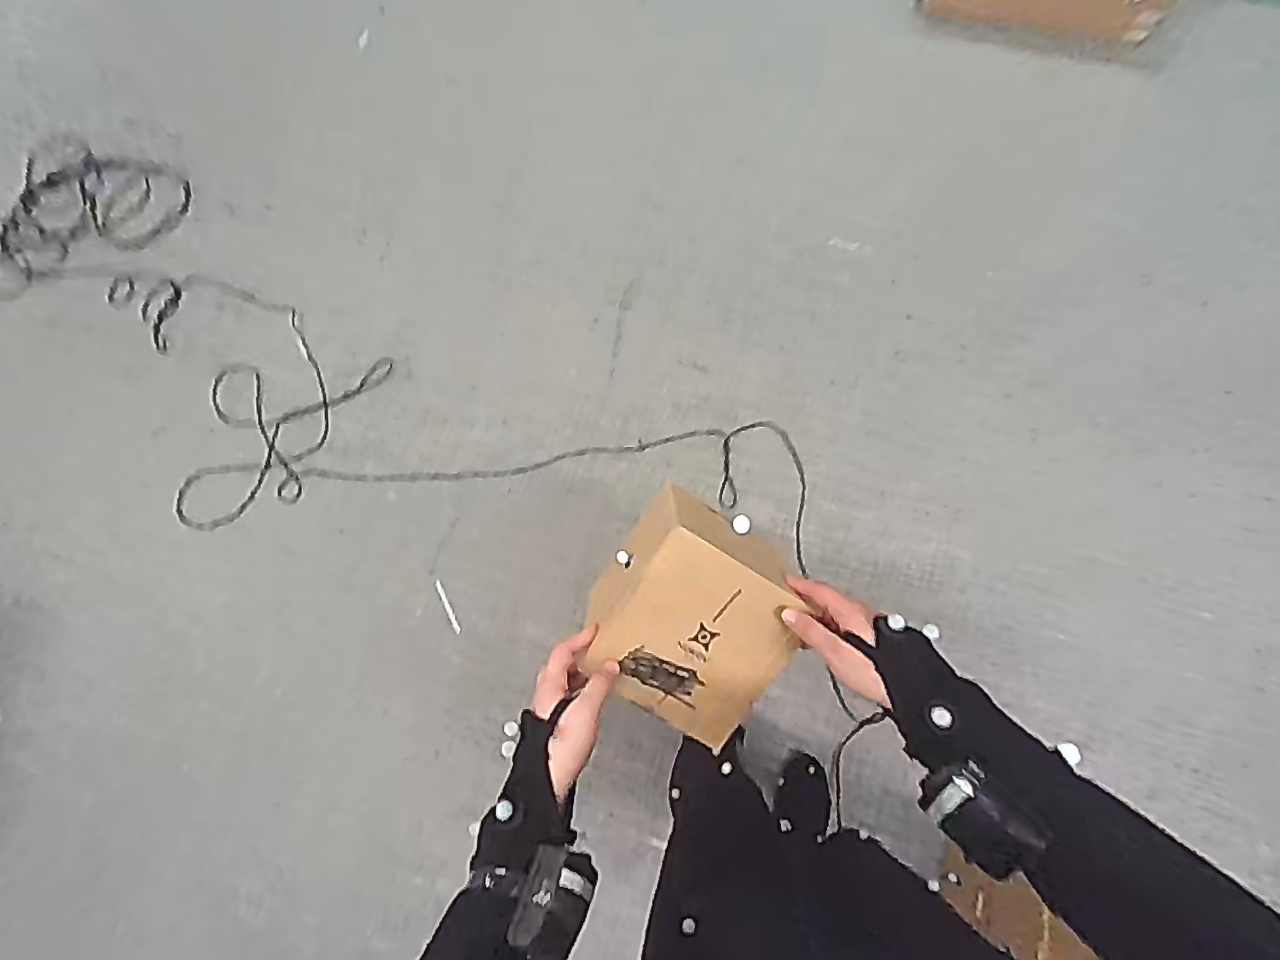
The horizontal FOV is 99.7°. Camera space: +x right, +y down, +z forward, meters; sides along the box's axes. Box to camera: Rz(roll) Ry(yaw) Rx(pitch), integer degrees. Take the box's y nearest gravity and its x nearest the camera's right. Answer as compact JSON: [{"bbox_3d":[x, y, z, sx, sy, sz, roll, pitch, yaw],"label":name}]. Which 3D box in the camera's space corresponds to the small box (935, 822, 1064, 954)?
[{"bbox_3d":[0.684,0.778,1.016,0.179,0.176,0.168,14,79,9],"label":"small box"}]

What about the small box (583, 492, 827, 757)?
[{"bbox_3d":[0.060,0.141,0.579,0.168,0.176,0.179,33,102,-8],"label":"small box"}]

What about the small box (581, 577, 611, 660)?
[{"bbox_3d":[-0.015,0.324,1.192,0.168,0.176,0.179,13,78,10],"label":"small box"}]
